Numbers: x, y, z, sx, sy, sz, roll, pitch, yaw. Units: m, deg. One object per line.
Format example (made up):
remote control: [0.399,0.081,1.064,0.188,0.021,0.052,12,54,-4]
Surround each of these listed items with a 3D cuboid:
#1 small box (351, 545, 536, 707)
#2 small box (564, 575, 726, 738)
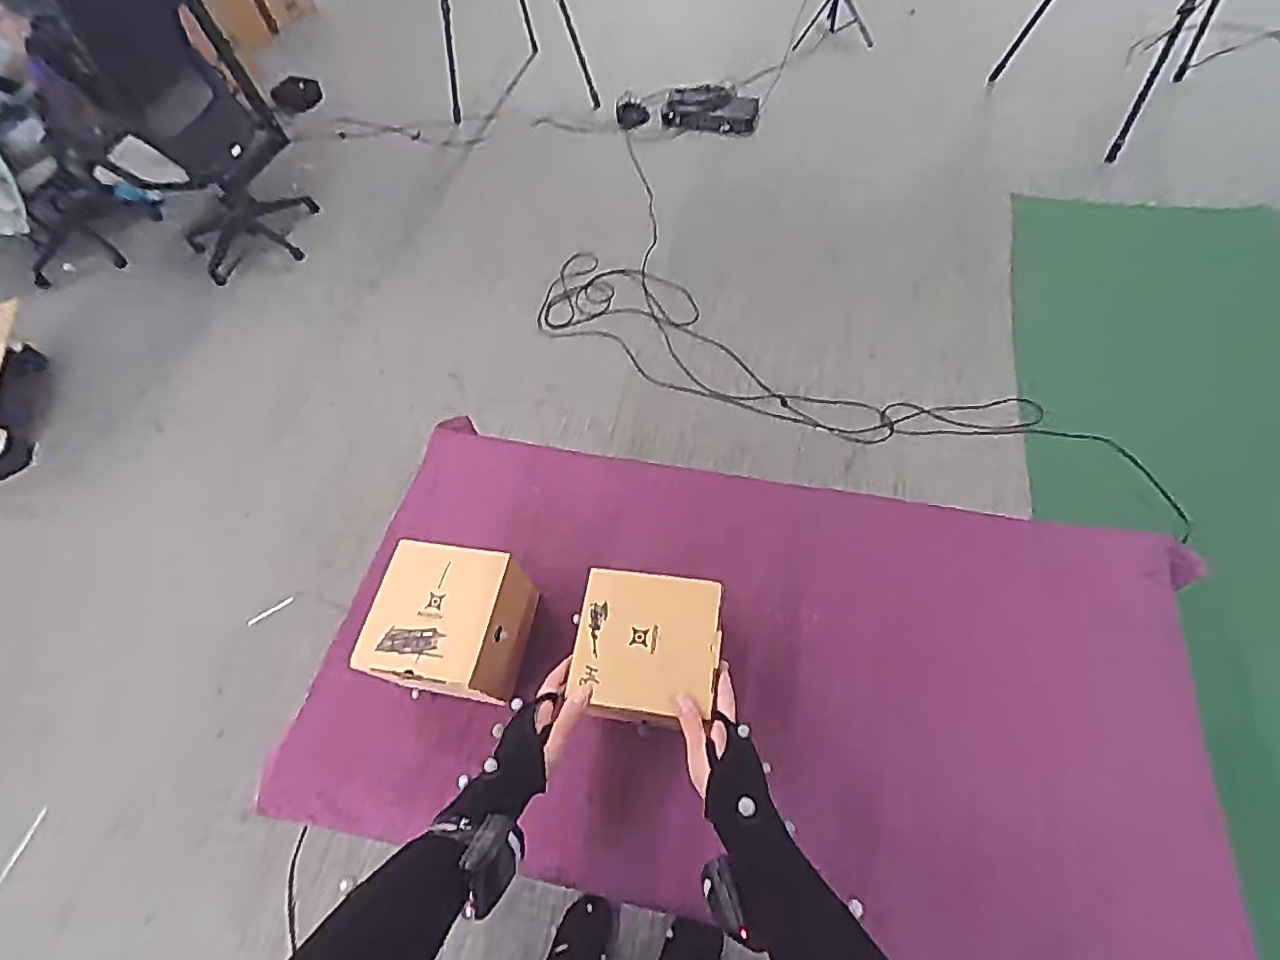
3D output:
small box: [-0.261,0.214,0.772,0.168,0.176,0.179,6,60,9]
small box: [0.016,0.242,0.727,0.179,0.176,0.168,6,61,9]
